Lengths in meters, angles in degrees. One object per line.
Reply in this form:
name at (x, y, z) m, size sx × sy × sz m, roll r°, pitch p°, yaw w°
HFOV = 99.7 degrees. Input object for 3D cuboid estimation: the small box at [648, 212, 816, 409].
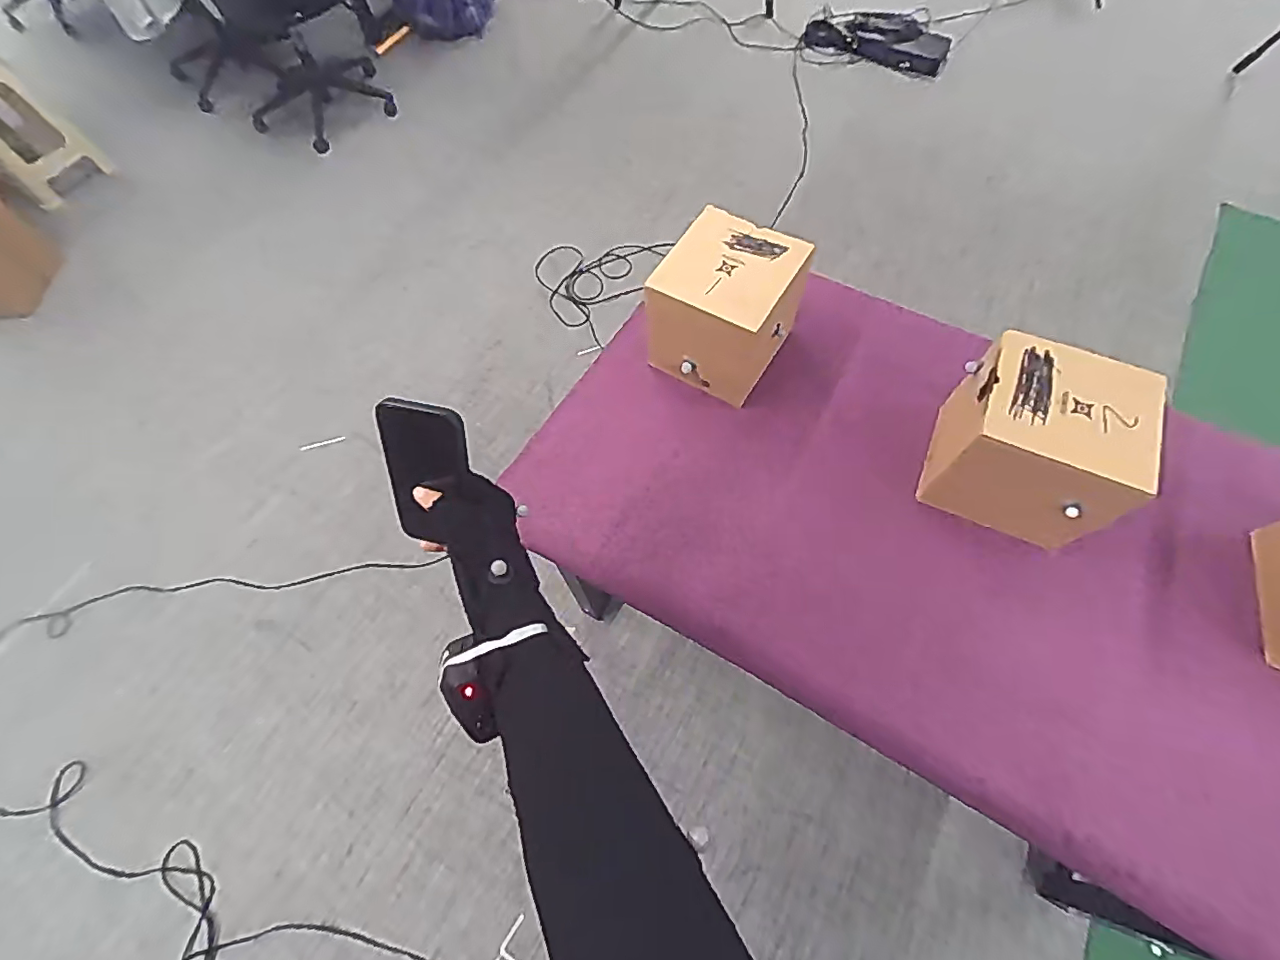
small box at (0.123, -0.238, 0.779) m, size 0.168 × 0.176 × 0.179 m, roll 30°, pitch 69°, yaw 16°

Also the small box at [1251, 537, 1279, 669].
small box at (0.810, 0.142, 0.561) m, size 0.168 × 0.176 × 0.179 m, roll 18°, pitch 64°, yaw 12°
